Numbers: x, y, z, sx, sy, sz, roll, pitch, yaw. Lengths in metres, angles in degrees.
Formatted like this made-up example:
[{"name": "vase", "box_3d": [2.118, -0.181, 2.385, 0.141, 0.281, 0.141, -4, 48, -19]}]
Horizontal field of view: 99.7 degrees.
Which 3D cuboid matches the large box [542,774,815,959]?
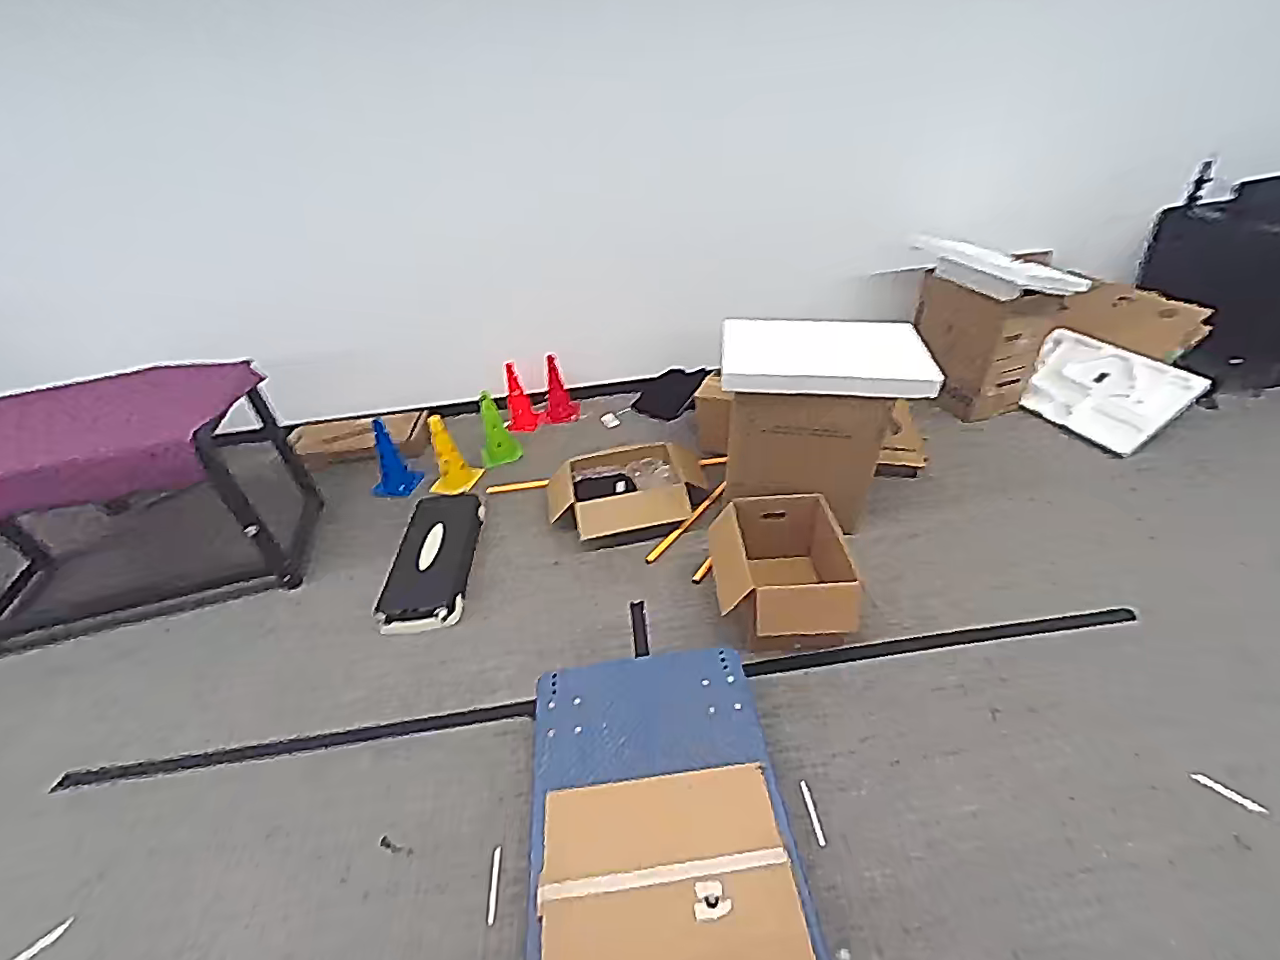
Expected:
[{"name": "large box", "box_3d": [0.050, 0.773, 0.946, 0.408, 0.320, 0.320, -7, 37, -3]}]
